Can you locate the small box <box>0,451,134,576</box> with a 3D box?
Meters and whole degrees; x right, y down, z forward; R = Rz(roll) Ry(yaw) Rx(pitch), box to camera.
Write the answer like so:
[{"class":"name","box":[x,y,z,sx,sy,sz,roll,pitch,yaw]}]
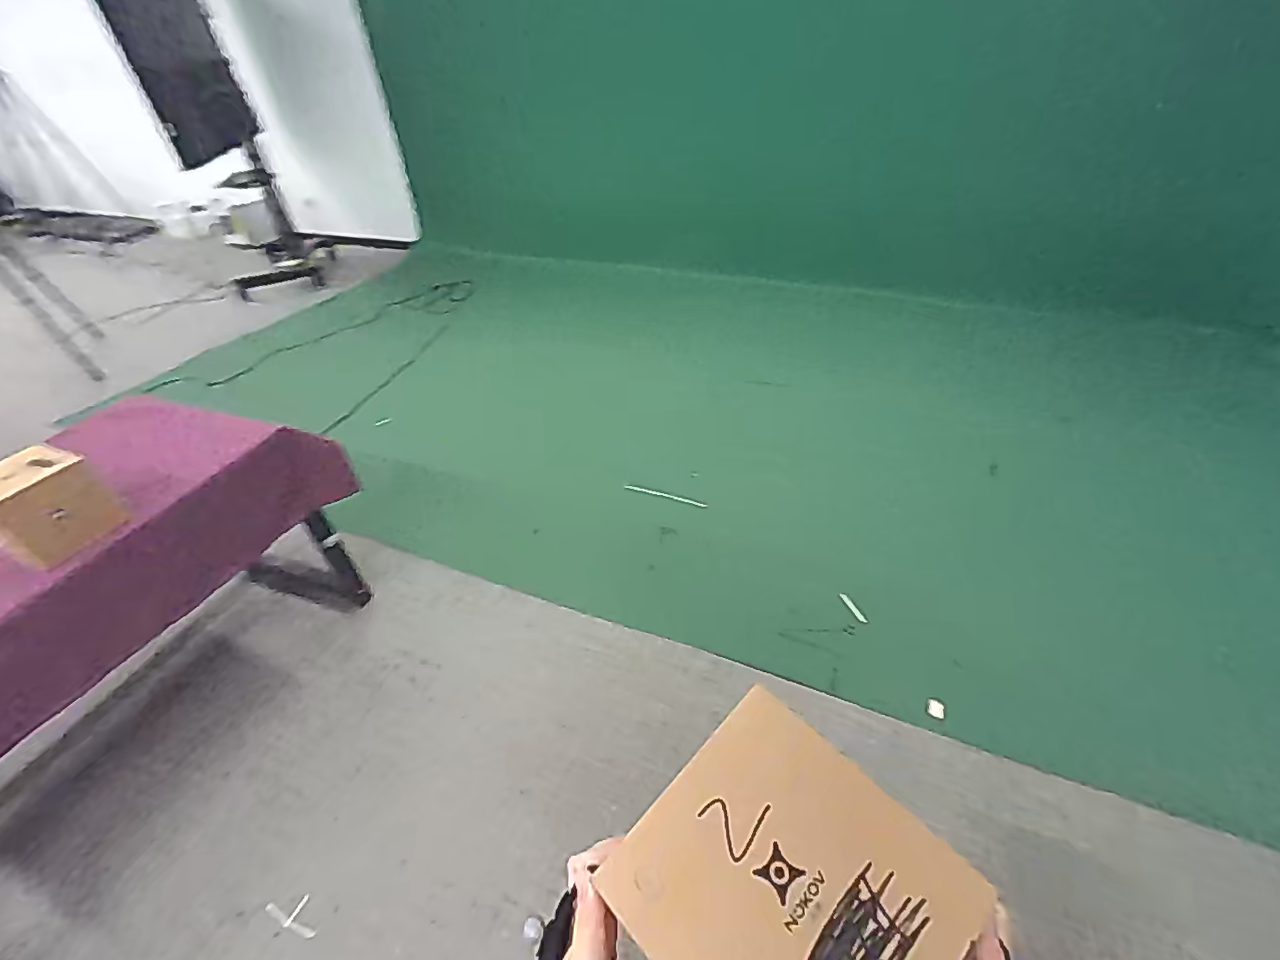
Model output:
[{"class":"small box","box":[-1.231,0.069,1.136,0.168,0.176,0.179,12,43,20]}]
